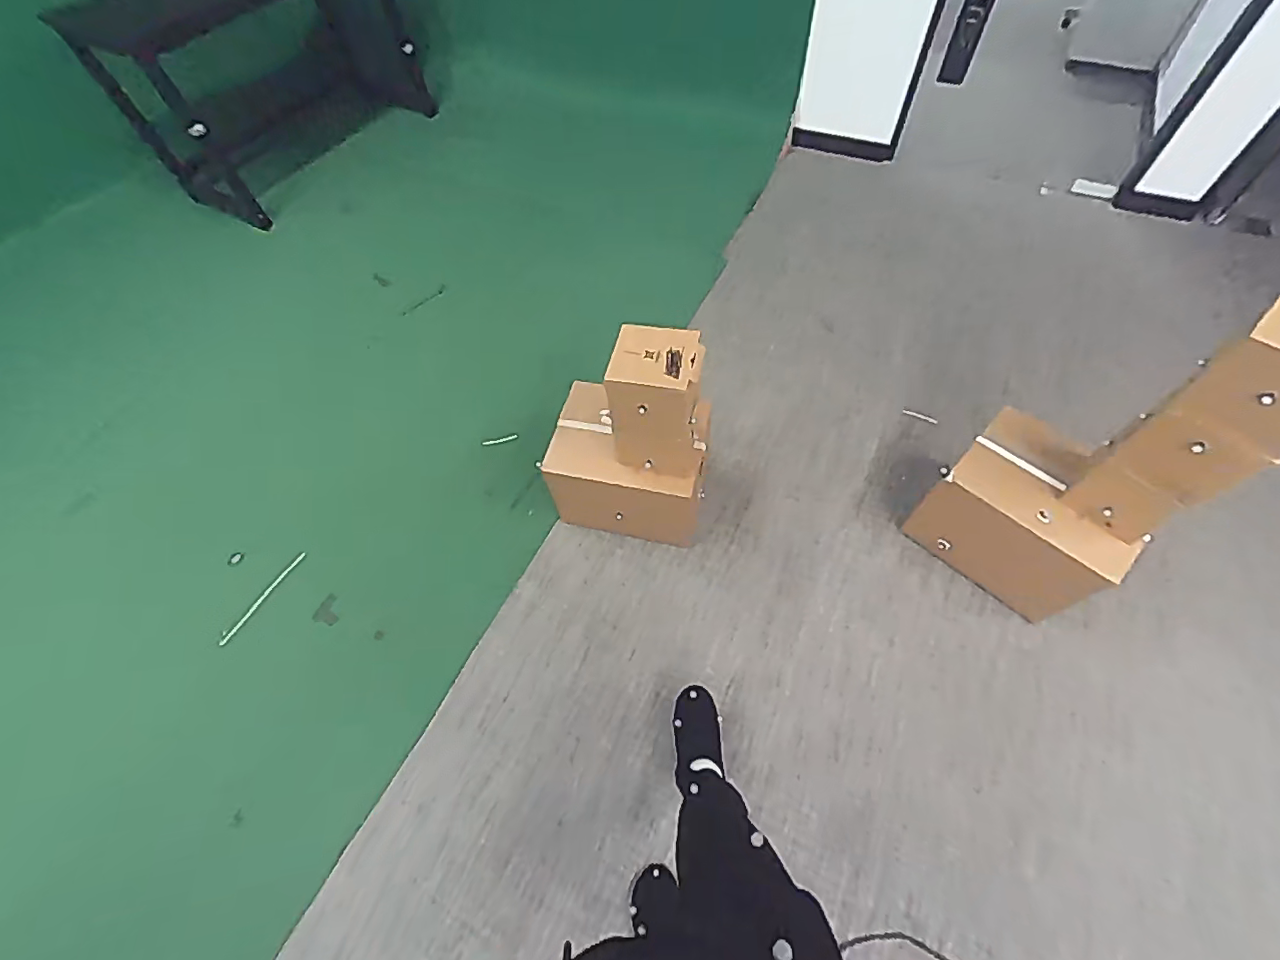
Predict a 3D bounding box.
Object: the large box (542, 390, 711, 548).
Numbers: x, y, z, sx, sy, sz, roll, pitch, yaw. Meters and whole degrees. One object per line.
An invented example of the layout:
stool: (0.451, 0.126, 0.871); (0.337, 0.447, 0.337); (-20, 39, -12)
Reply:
large box: (-0.016, -0.026, 1.565); (0.408, 0.320, 0.320); (9, 59, 11)

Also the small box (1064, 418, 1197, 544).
small box: (1.088, 0.004, 1.184); (0.179, 0.176, 0.168); (-39, 64, -20)

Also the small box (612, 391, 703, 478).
small box: (0.047, -0.124, 1.333); (0.179, 0.176, 0.168); (14, 61, 12)

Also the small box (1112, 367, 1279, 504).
small box: (1.087, -0.077, 1.044); (0.168, 0.176, 0.179); (-38, 63, -20)

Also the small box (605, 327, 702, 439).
small box: (0.036, -0.208, 1.192); (0.179, 0.176, 0.168); (9, 60, 11)
